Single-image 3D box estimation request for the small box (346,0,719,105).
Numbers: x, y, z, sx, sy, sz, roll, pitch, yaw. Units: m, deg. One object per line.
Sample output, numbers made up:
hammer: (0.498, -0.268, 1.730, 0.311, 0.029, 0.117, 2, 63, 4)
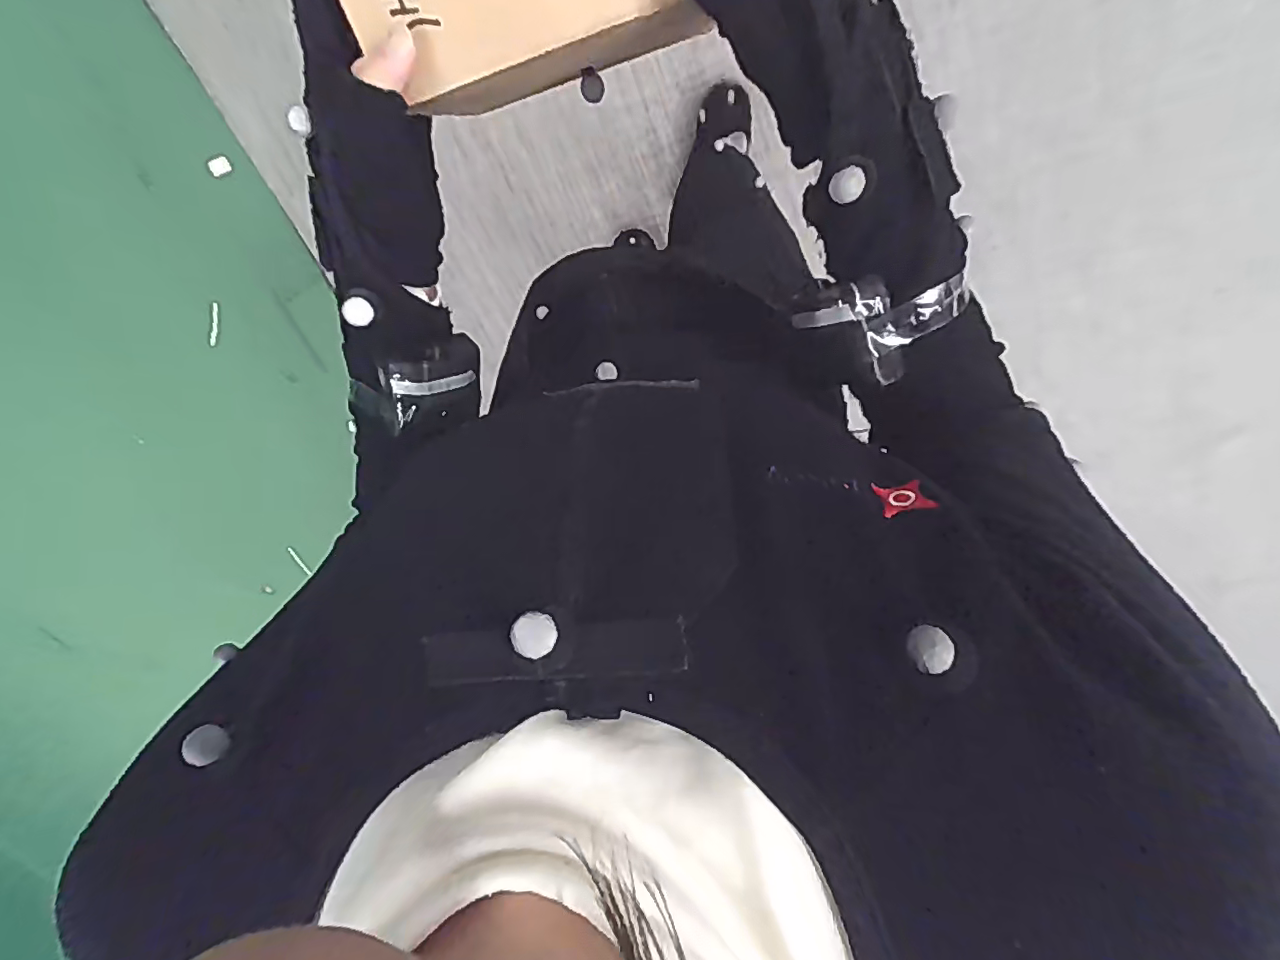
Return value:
small box: (-0.057, -0.308, 0.268, 0.179, 0.176, 0.168, -13, 122, 9)
